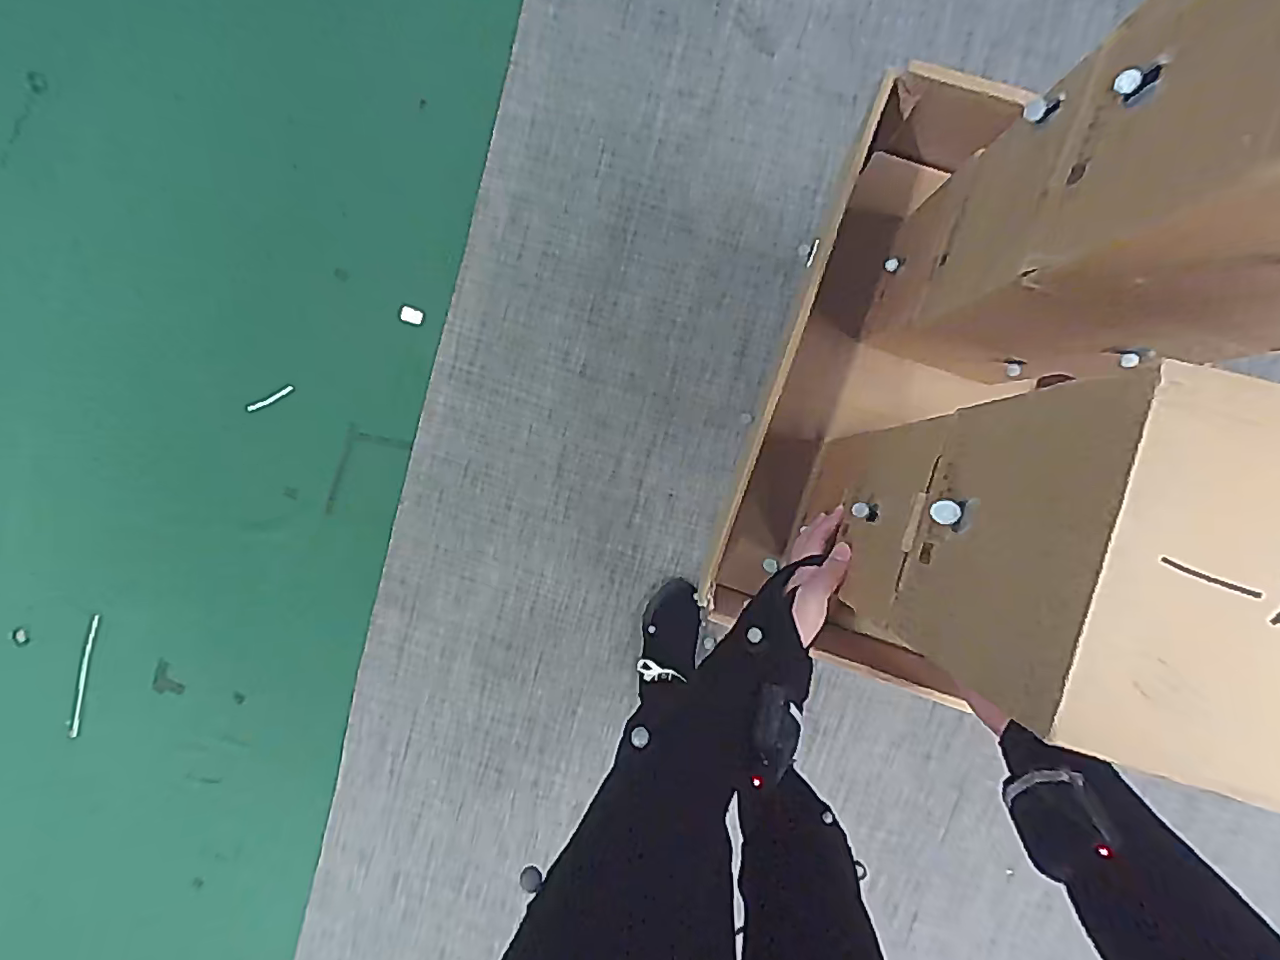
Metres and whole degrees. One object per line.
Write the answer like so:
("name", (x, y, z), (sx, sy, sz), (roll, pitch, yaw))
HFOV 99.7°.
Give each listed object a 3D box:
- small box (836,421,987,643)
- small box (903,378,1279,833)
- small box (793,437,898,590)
("small box", (0.288, 0.062, 0.454), (0.179, 0.176, 0.168), (18, 92, 4))
("small box", (0.280, 0.060, 0.289), (0.179, 0.176, 0.168), (17, 91, 4))
("small box", (0.296, 0.063, 0.617), (0.179, 0.176, 0.168), (21, 91, 2))
